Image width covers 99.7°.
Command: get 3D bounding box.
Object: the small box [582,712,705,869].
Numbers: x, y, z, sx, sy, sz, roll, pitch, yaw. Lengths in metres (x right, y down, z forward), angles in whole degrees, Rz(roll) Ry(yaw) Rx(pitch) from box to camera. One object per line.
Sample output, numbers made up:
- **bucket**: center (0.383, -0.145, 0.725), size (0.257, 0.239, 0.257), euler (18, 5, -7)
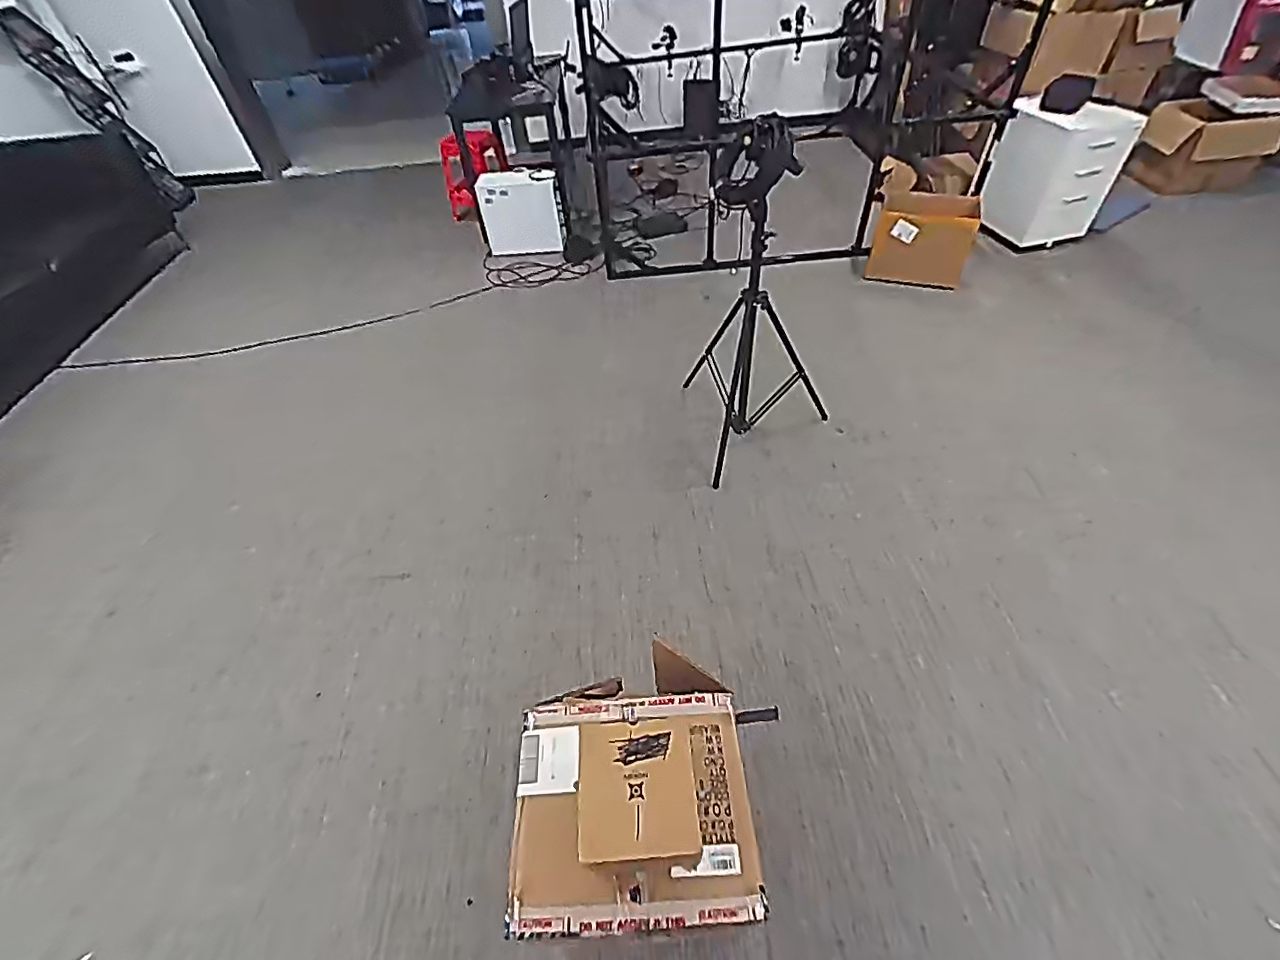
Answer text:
- **small box**: center (0.004, 0.475, 0.825), size (0.168, 0.176, 0.179), euler (-5, 51, 1)
